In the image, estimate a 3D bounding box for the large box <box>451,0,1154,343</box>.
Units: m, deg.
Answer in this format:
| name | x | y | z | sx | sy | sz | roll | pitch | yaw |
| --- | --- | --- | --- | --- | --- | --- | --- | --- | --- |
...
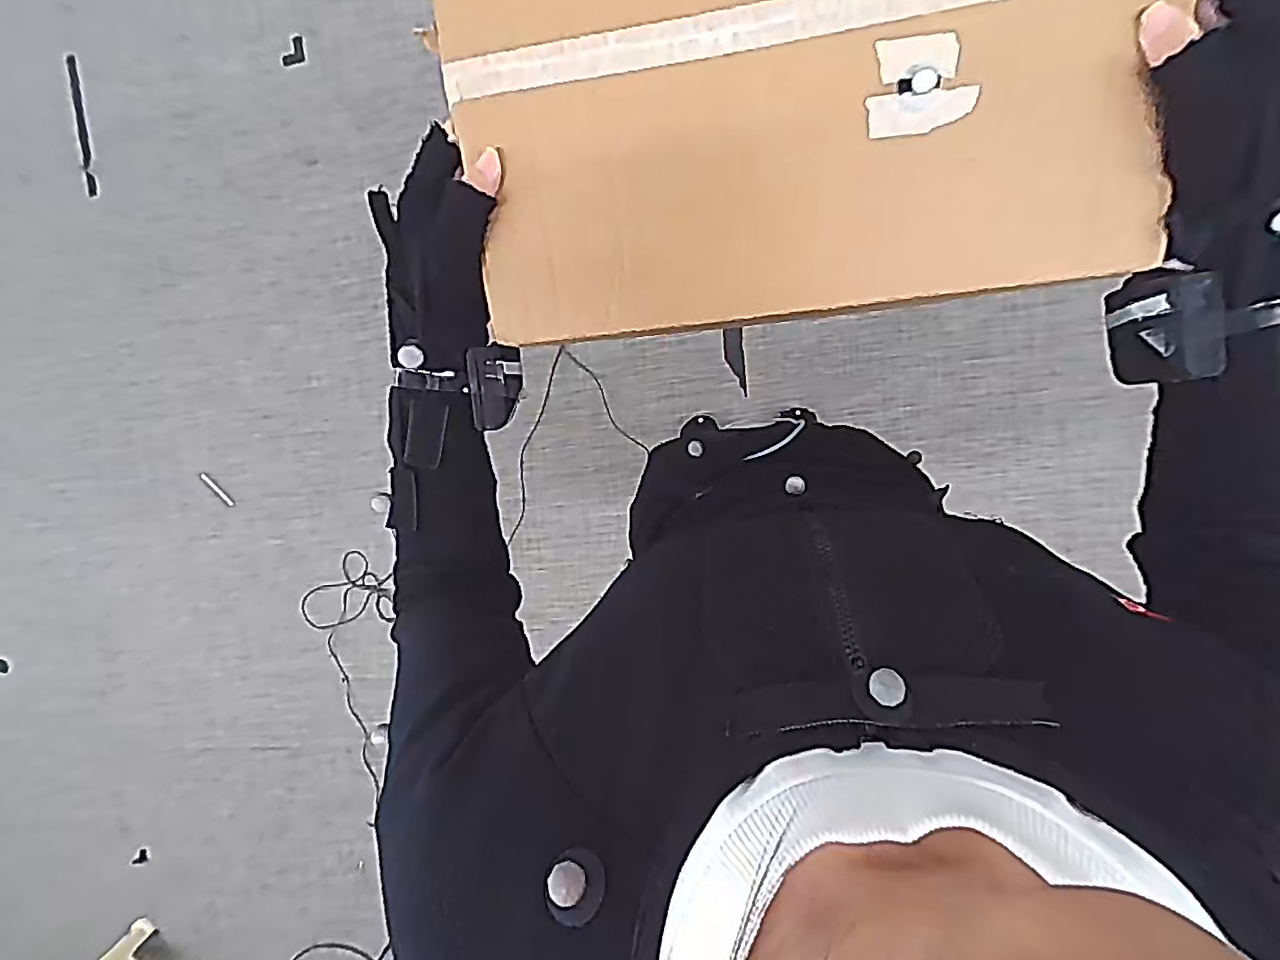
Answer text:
| name | x | y | z | sx | sy | sz | roll | pitch | yaw |
| --- | --- | --- | --- | --- | --- | --- | --- | --- | --- |
| large box | 0.097 | -0.301 | 0.462 | 0.408 | 0.320 | 0.320 | -5 | 105 | 7 |
